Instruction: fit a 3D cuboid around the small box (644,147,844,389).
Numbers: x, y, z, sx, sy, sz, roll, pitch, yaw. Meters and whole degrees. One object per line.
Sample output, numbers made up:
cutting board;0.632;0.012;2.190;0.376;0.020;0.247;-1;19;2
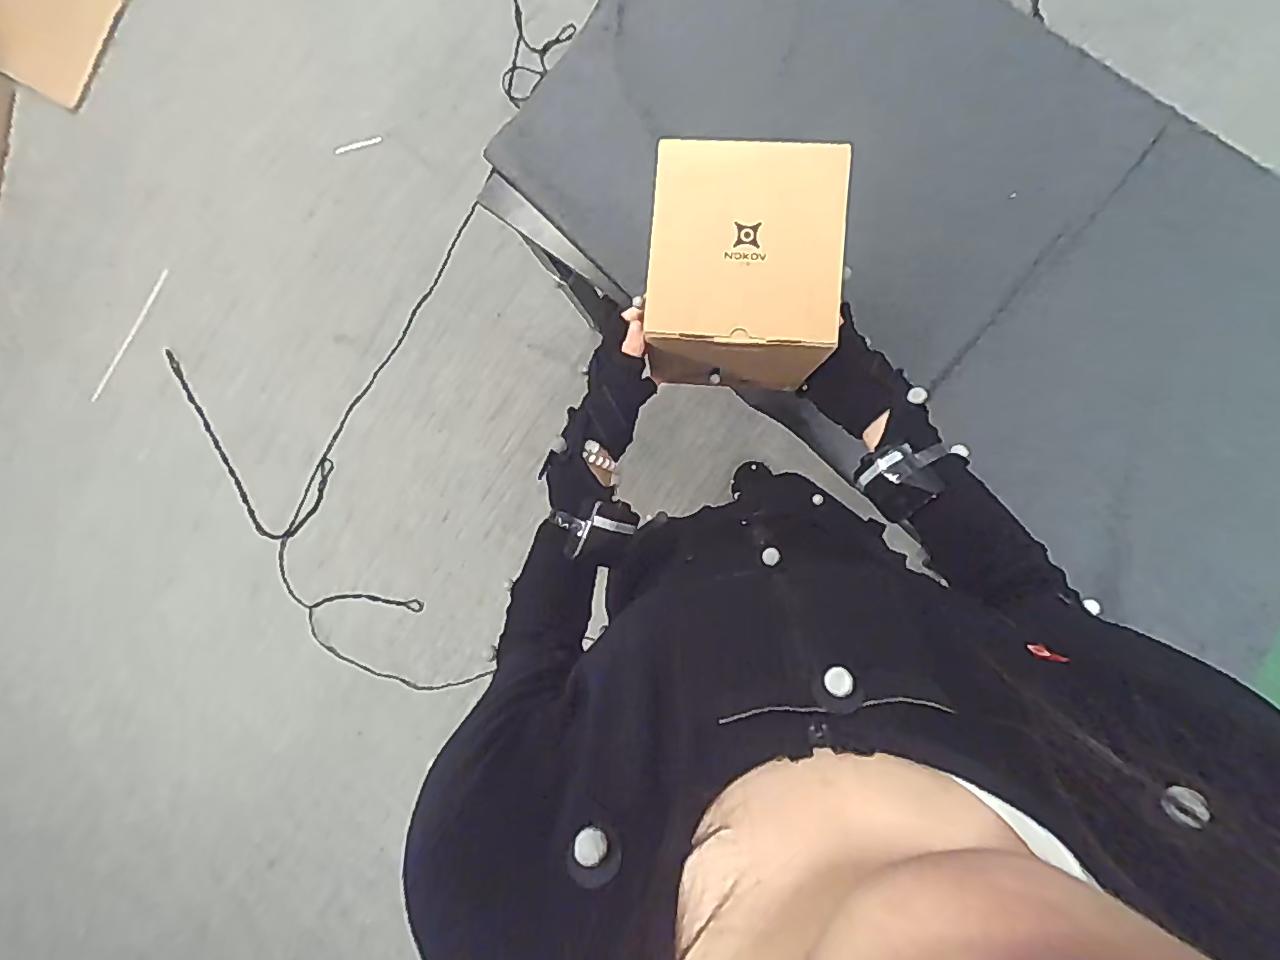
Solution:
small box;0.096;-0.202;0.557;0.168;0.176;0.179;5;88;4
